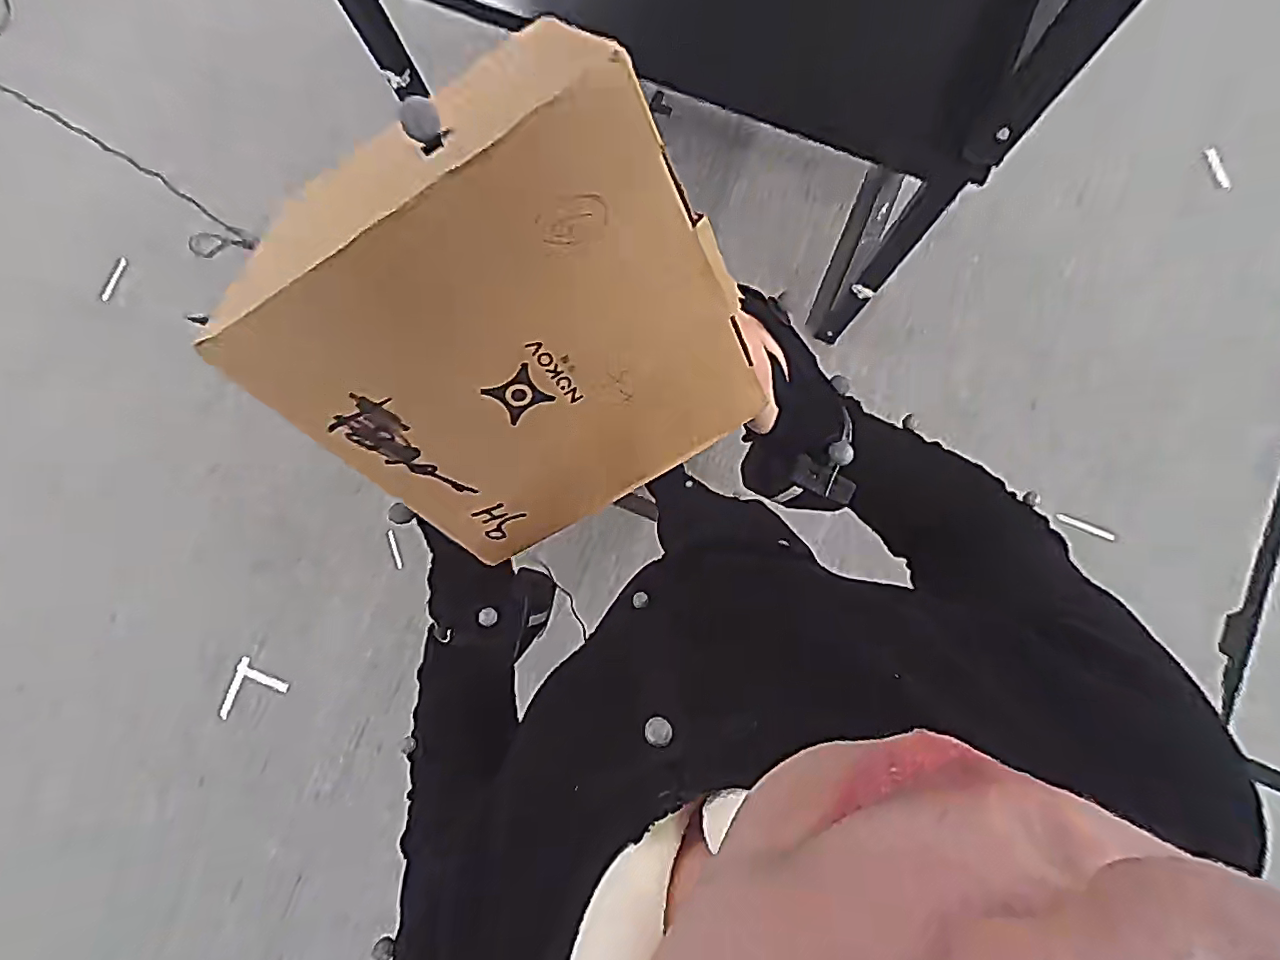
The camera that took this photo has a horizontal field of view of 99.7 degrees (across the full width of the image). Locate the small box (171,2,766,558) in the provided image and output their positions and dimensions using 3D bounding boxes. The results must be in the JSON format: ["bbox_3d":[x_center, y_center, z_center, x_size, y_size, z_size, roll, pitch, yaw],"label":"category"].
[{"bbox_3d":[-0.068,-0.100,0.273,0.179,0.168,0.176,-30,45,7],"label":"small box"}]
